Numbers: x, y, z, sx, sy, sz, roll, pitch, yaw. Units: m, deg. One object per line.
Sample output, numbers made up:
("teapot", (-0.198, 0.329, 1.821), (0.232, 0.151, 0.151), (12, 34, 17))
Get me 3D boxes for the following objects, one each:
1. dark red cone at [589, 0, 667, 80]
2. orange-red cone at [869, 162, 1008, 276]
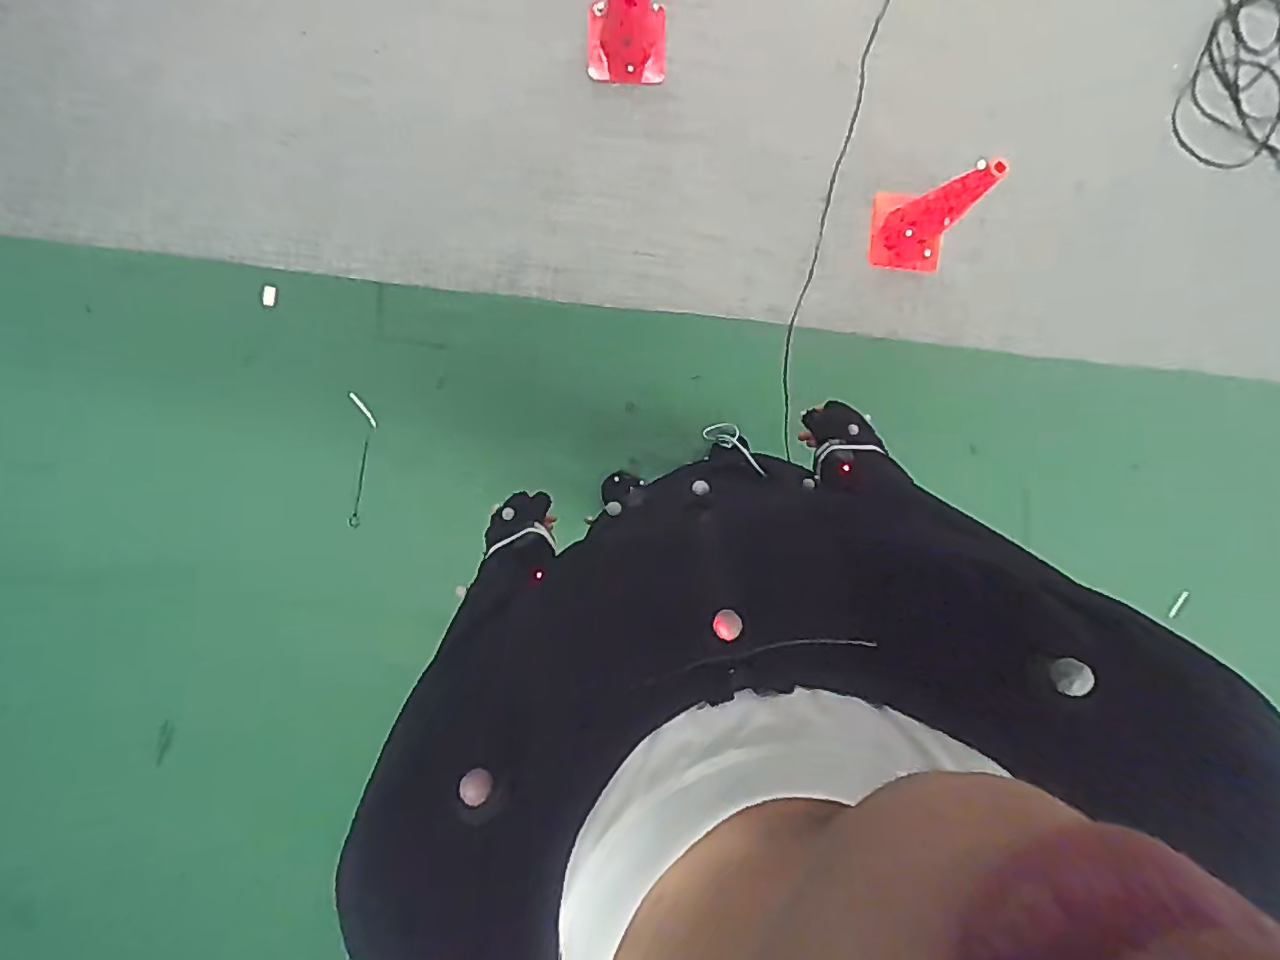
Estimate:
("dark red cone", (-0.021, -1.116, 1.219), (0.202, 0.394, 0.201), (0, 94, -3))
("orange-red cone", (0.743, -0.663, 1.312), (0.198, 0.360, 0.199), (6, 92, -5))
